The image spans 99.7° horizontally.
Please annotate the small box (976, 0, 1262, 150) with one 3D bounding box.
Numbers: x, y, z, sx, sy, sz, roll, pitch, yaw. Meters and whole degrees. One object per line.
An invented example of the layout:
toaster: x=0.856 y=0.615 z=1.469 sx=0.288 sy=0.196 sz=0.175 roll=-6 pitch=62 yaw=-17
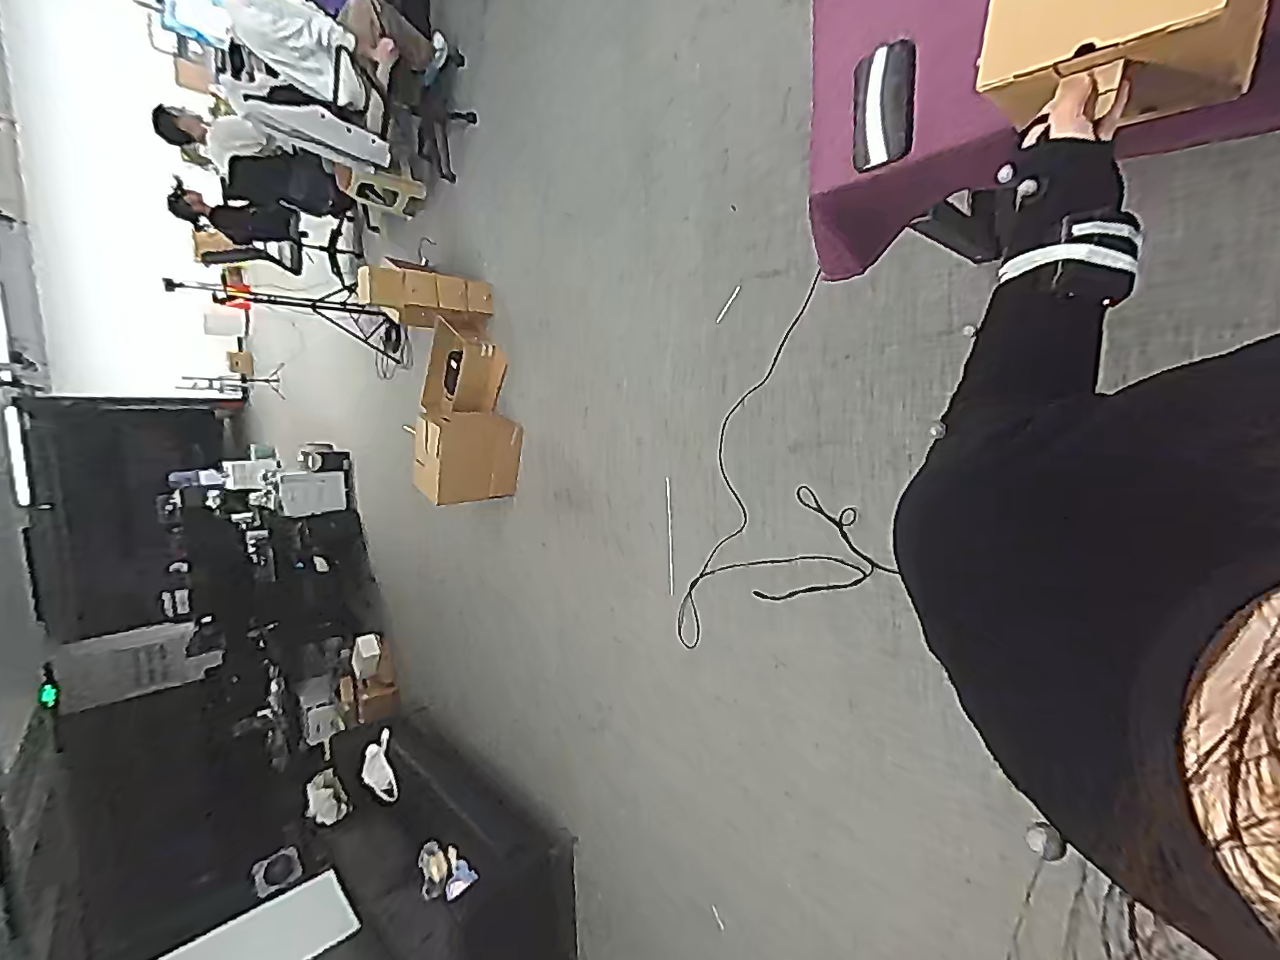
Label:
small box: x=0.437 y=-0.434 z=0.487 sx=0.168 sy=0.176 sz=0.179 roll=17 pitch=108 yaw=47
